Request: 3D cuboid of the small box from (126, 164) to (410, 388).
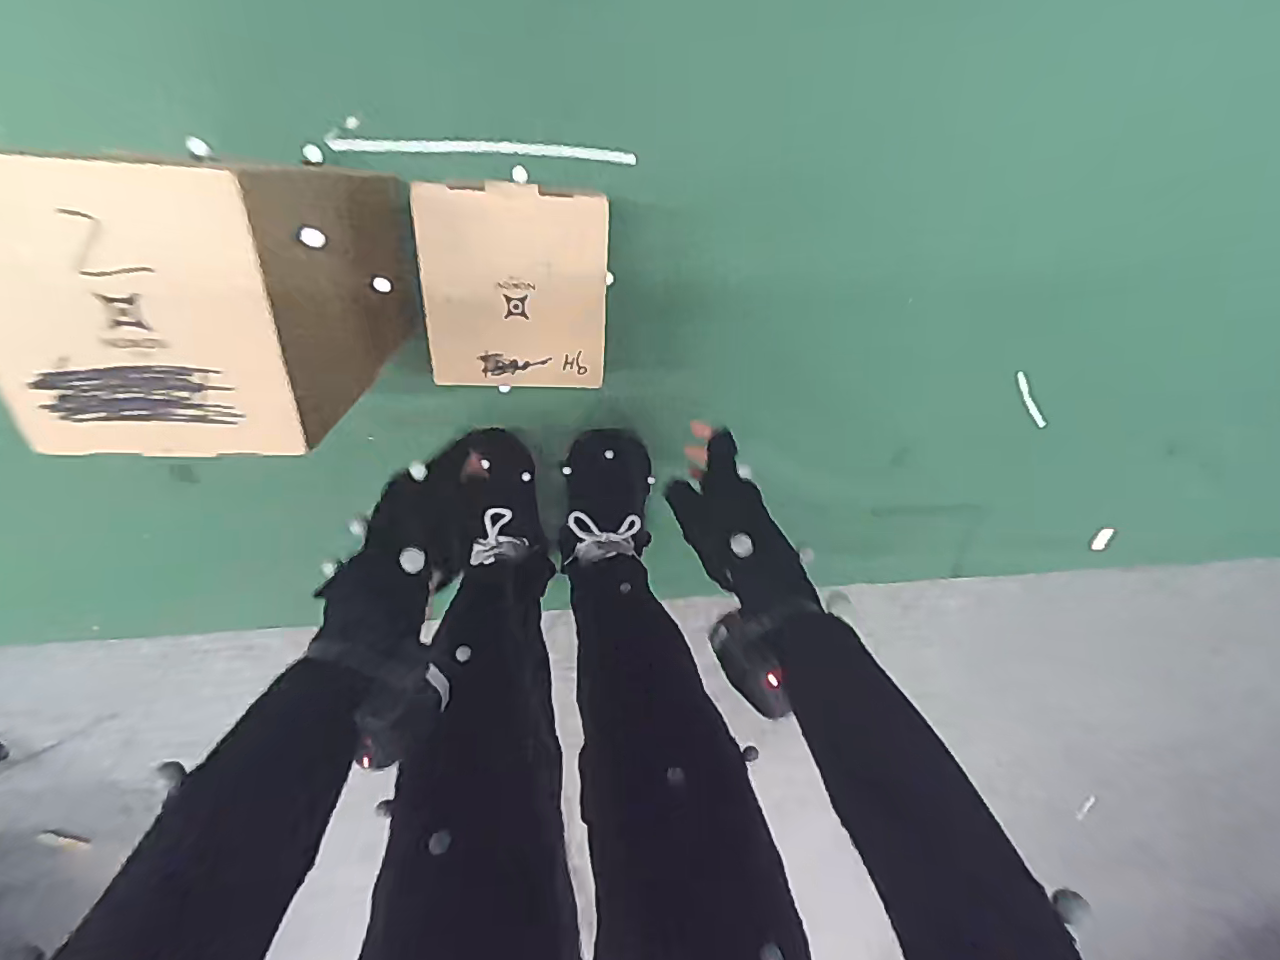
[{"bbox_3d":[-0.341,-0.208,0.544,0.168,0.176,0.179,2,120,-9],"label":"small box"}]
